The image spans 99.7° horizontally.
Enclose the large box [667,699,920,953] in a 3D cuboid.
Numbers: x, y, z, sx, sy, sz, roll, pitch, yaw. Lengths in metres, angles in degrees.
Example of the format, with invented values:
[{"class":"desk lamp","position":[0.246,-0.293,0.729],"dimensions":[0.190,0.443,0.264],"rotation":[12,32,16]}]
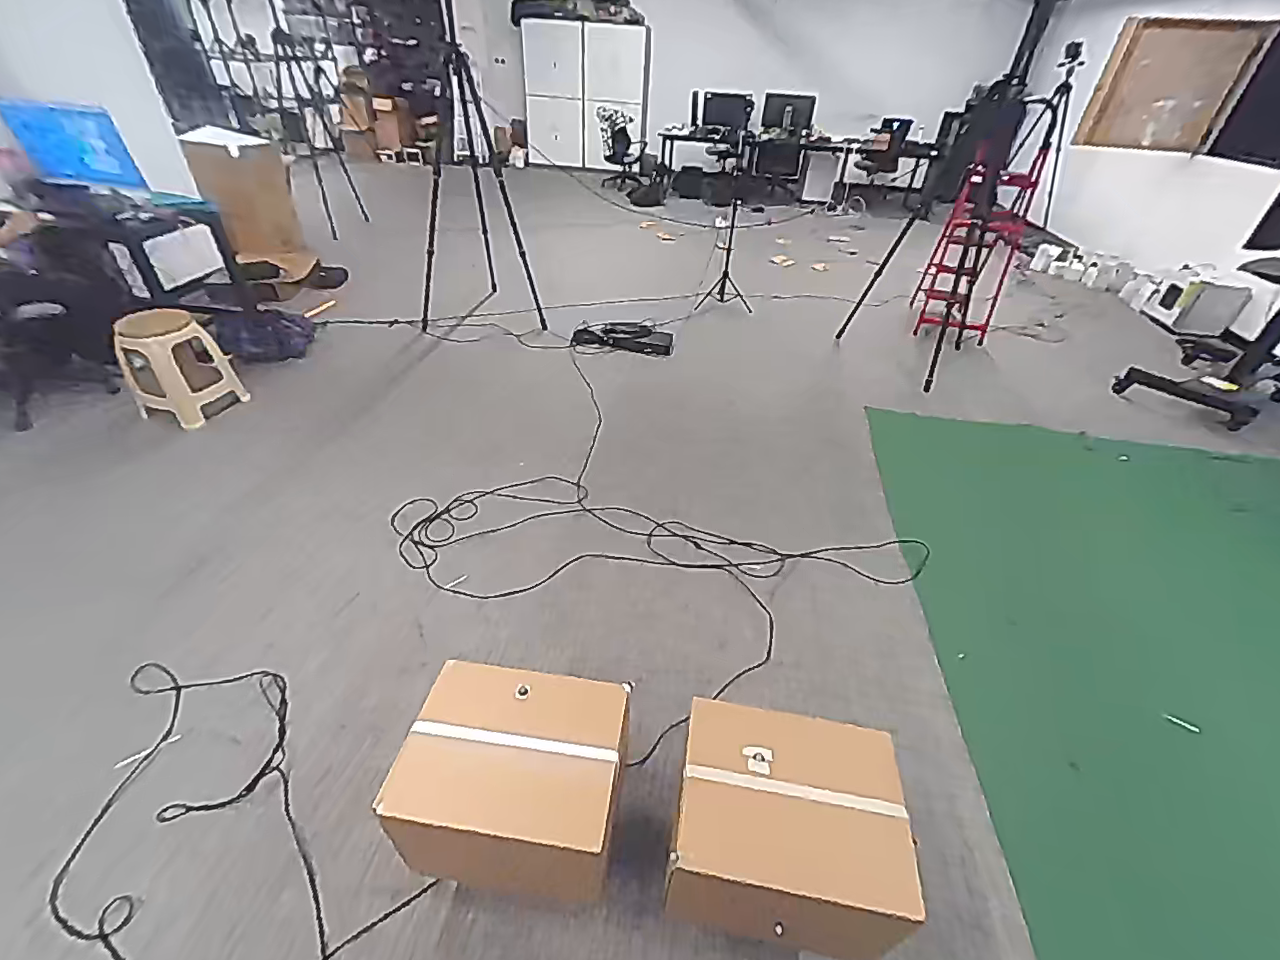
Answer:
[{"class":"large box","position":[0.279,0.696,1.098],"dimensions":[0.408,0.320,0.320],"rotation":[8,38,7]}]
